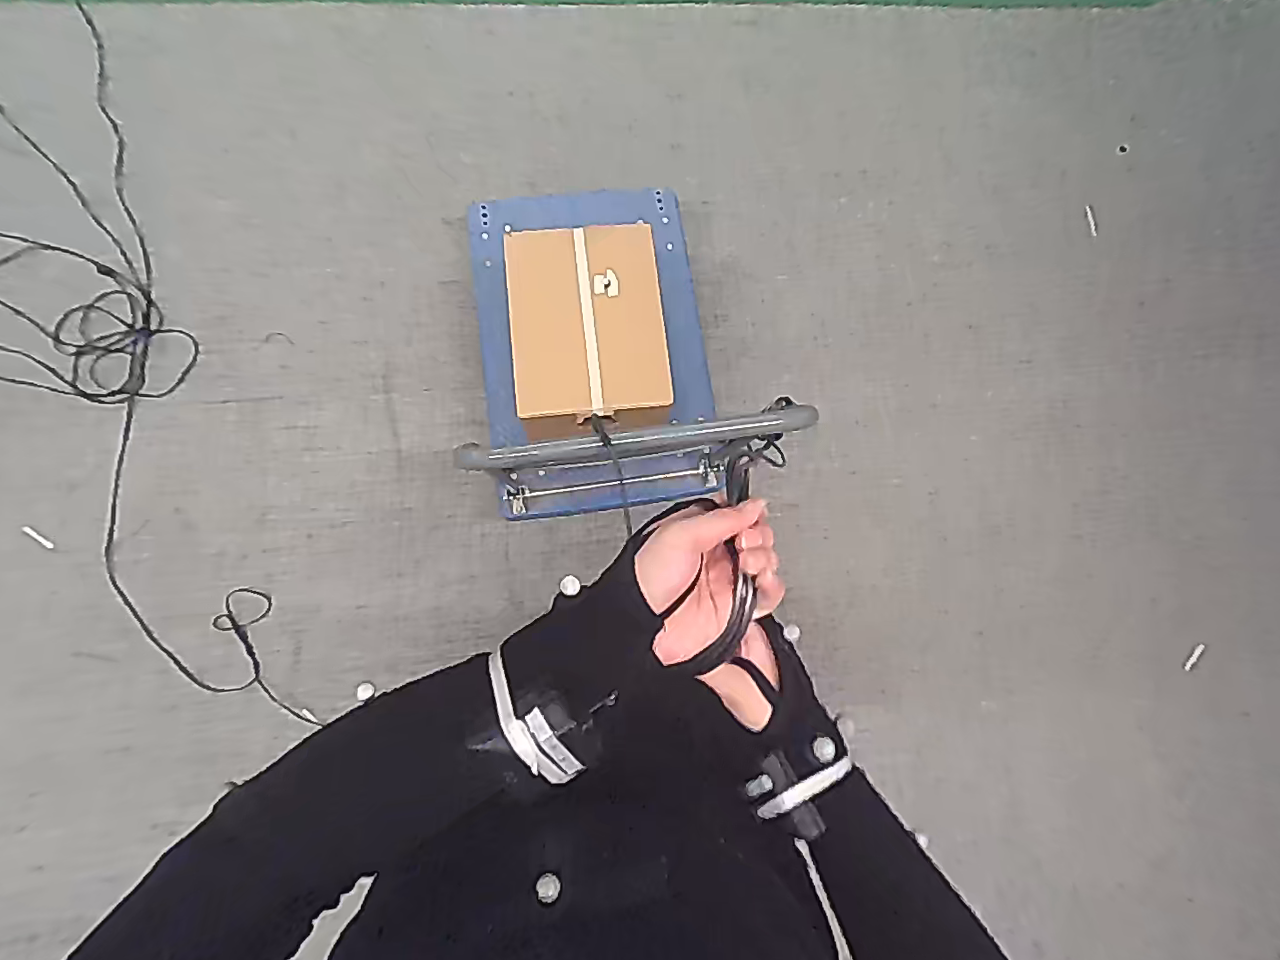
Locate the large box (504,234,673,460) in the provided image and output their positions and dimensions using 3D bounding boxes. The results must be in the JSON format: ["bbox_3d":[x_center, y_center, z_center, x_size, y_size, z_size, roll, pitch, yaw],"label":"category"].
[{"bbox_3d":[-0.118,-0.288,1.253,0.320,0.320,0.408,-6,79,-6],"label":"large box"}]
